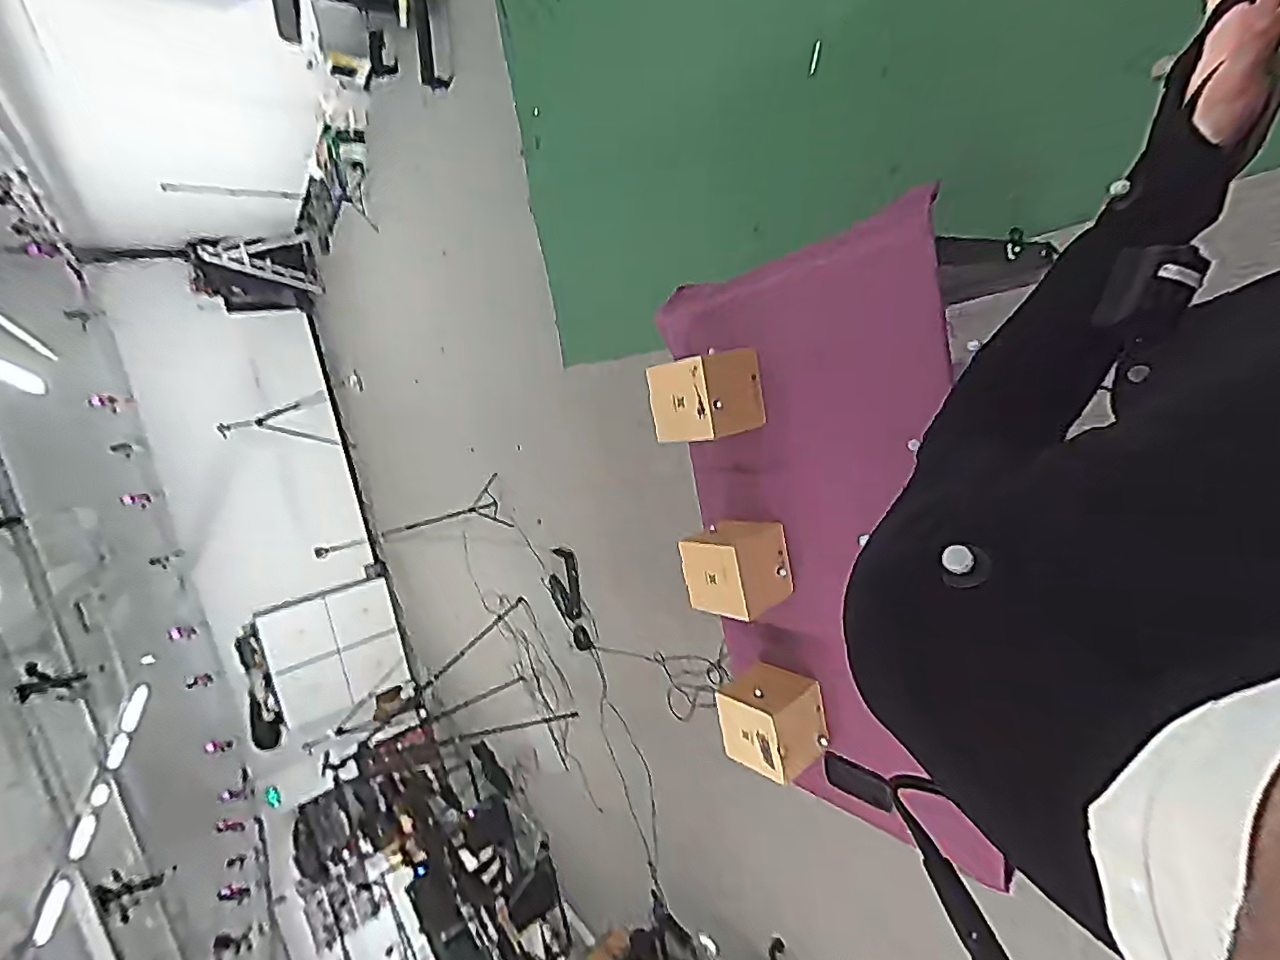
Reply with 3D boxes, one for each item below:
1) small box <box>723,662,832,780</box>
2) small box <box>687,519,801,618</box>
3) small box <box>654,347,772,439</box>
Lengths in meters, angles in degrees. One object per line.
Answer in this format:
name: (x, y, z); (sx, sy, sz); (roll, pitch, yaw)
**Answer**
small box: (0.324, 0.545, 1.253); (0.179, 0.176, 0.168); (-2, 102, 54)
small box: (0.236, 0.191, 1.229); (0.179, 0.176, 0.168); (-2, 103, 53)
small box: (0.158, -0.187, 1.176); (0.179, 0.176, 0.168); (1, 106, 54)
